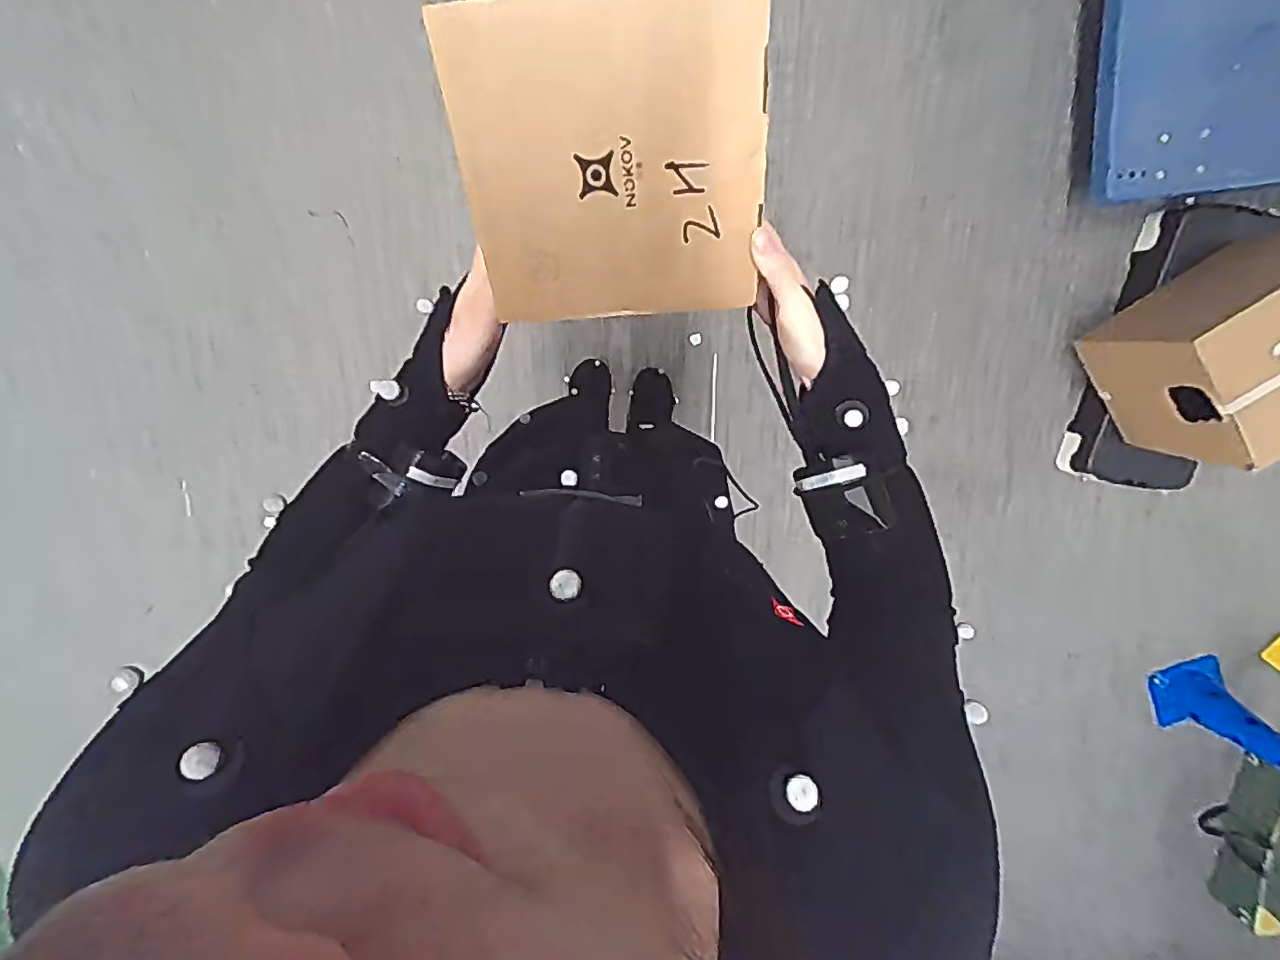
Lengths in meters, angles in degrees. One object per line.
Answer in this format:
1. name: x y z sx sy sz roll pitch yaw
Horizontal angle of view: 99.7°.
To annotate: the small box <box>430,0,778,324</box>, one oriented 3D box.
1. small box: -0.011 -0.221 0.373 0.179 0.176 0.168 -2 129 5
